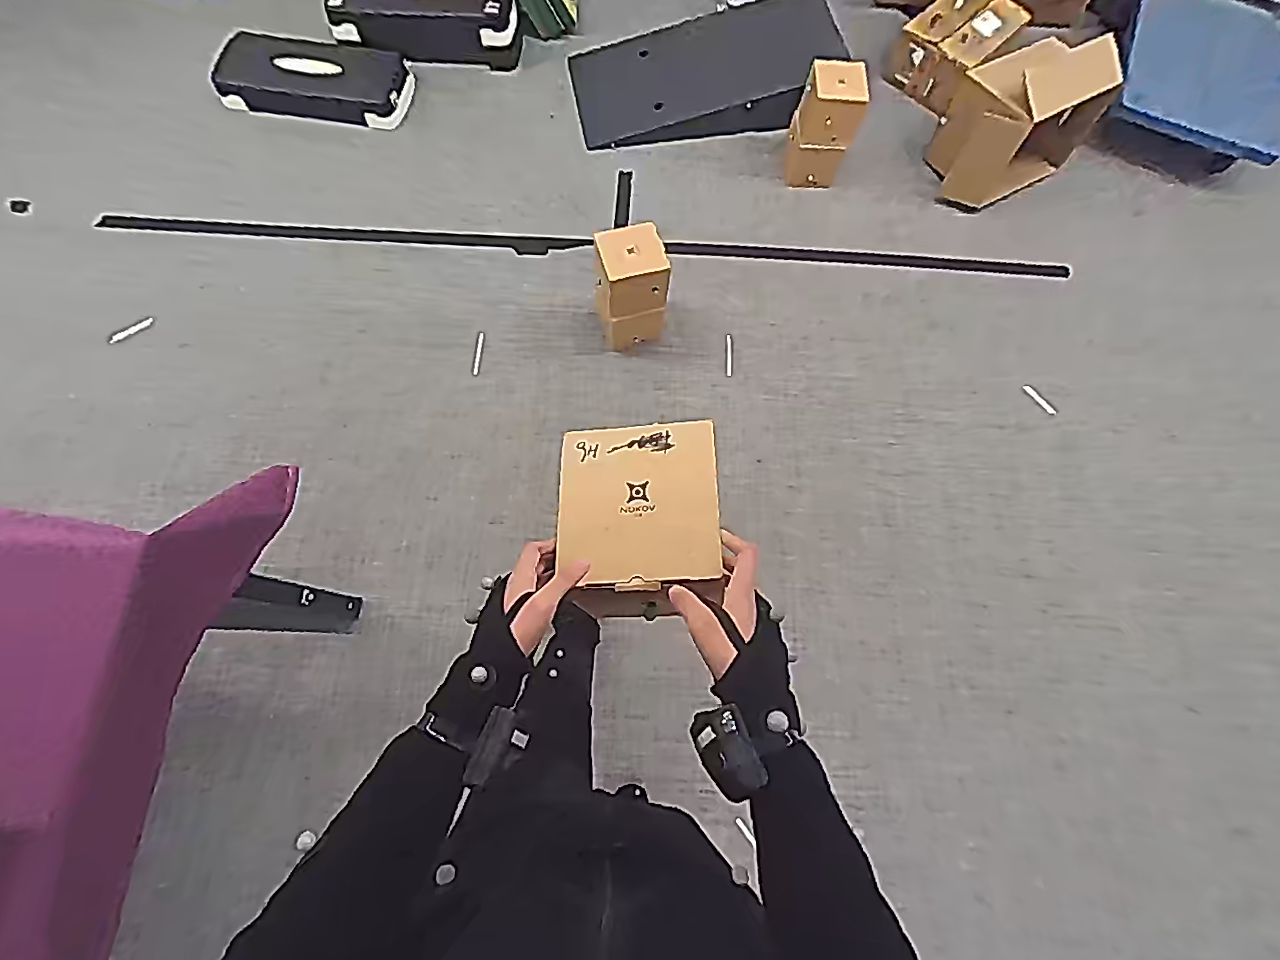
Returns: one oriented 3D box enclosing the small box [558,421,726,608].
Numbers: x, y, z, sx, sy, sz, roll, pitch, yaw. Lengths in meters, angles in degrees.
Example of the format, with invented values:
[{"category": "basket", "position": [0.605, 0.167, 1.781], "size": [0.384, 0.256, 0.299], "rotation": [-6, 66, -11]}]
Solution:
[{"category": "small box", "position": [0.012, 0.052, 0.630], "size": [0.168, 0.176, 0.179], "rotation": [-4, 66, 9]}]
